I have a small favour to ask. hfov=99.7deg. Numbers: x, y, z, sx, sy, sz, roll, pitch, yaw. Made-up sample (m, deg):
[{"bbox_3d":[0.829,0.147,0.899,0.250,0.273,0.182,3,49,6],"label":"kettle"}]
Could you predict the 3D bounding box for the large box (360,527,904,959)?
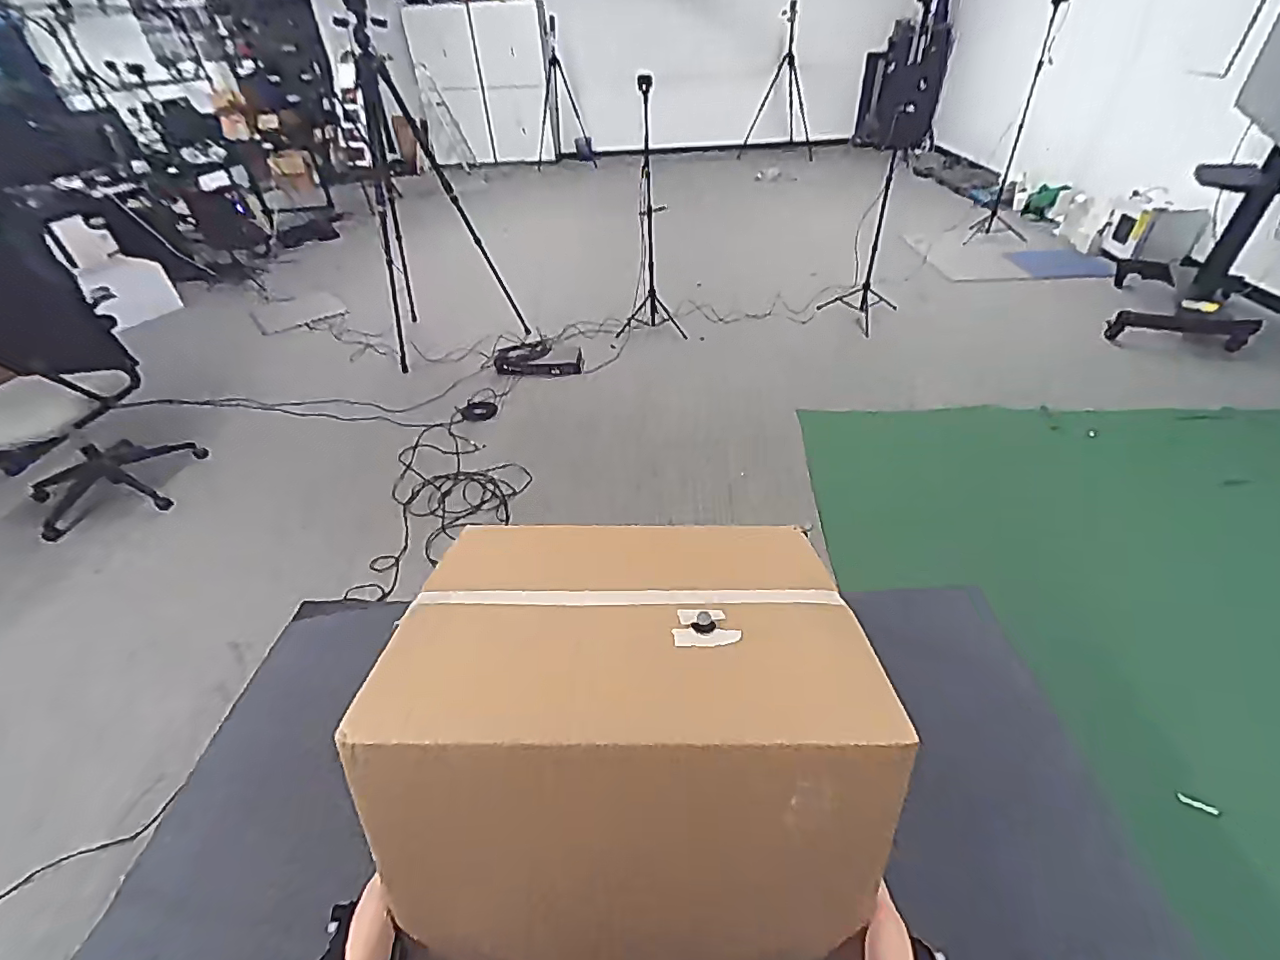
[{"bbox_3d":[-0.007,0.258,0.582,0.408,0.320,0.320,0,25,0],"label":"large box"}]
